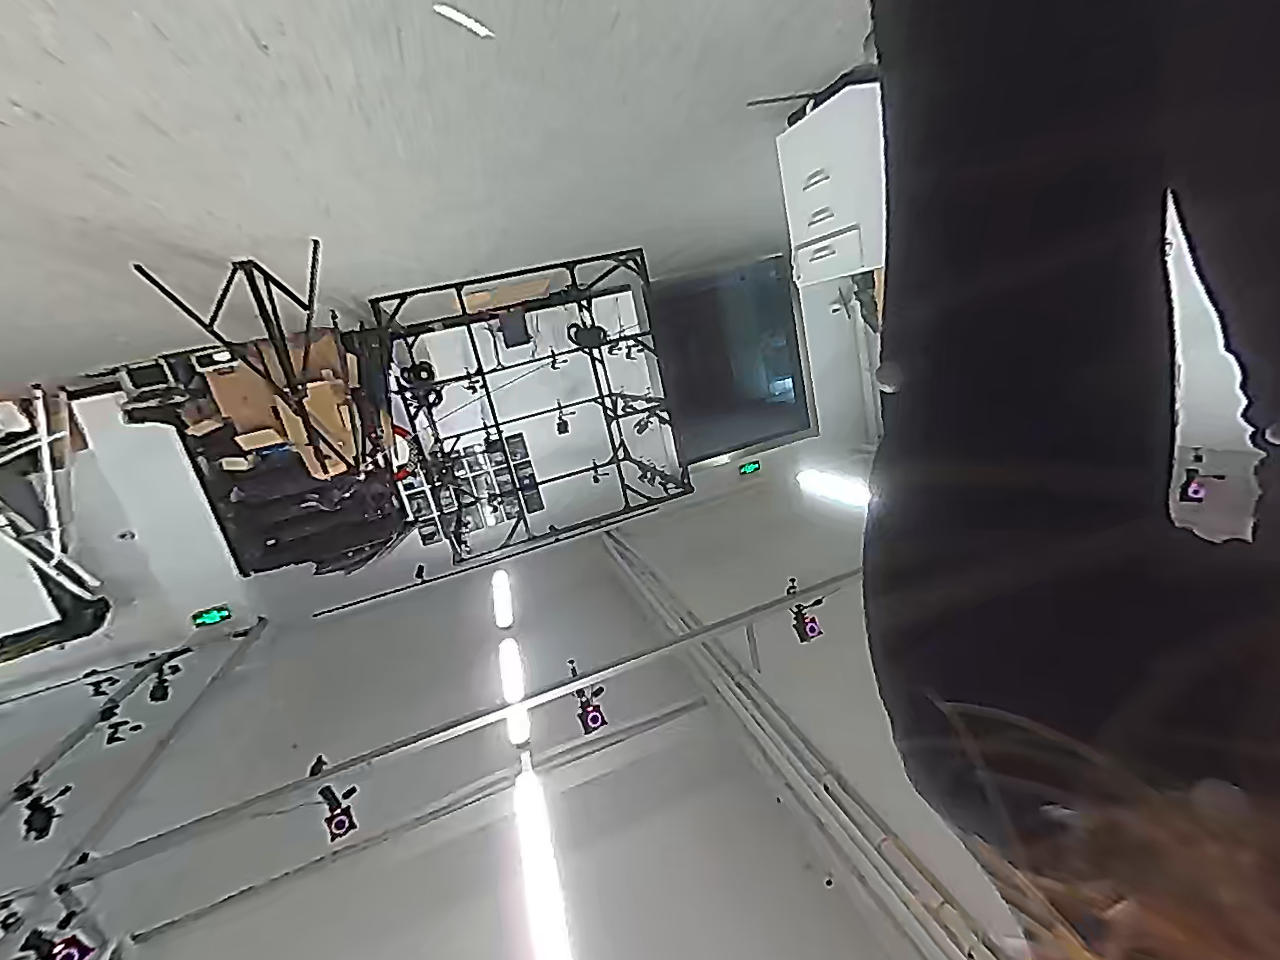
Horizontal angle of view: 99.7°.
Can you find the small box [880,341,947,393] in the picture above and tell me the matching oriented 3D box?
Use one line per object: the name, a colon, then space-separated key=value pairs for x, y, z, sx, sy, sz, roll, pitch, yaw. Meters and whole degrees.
small box: x=1.079 y=-0.452 z=2.137 sx=0.179 sy=0.176 sz=0.168 roll=-18 pitch=-163 yaw=-17
